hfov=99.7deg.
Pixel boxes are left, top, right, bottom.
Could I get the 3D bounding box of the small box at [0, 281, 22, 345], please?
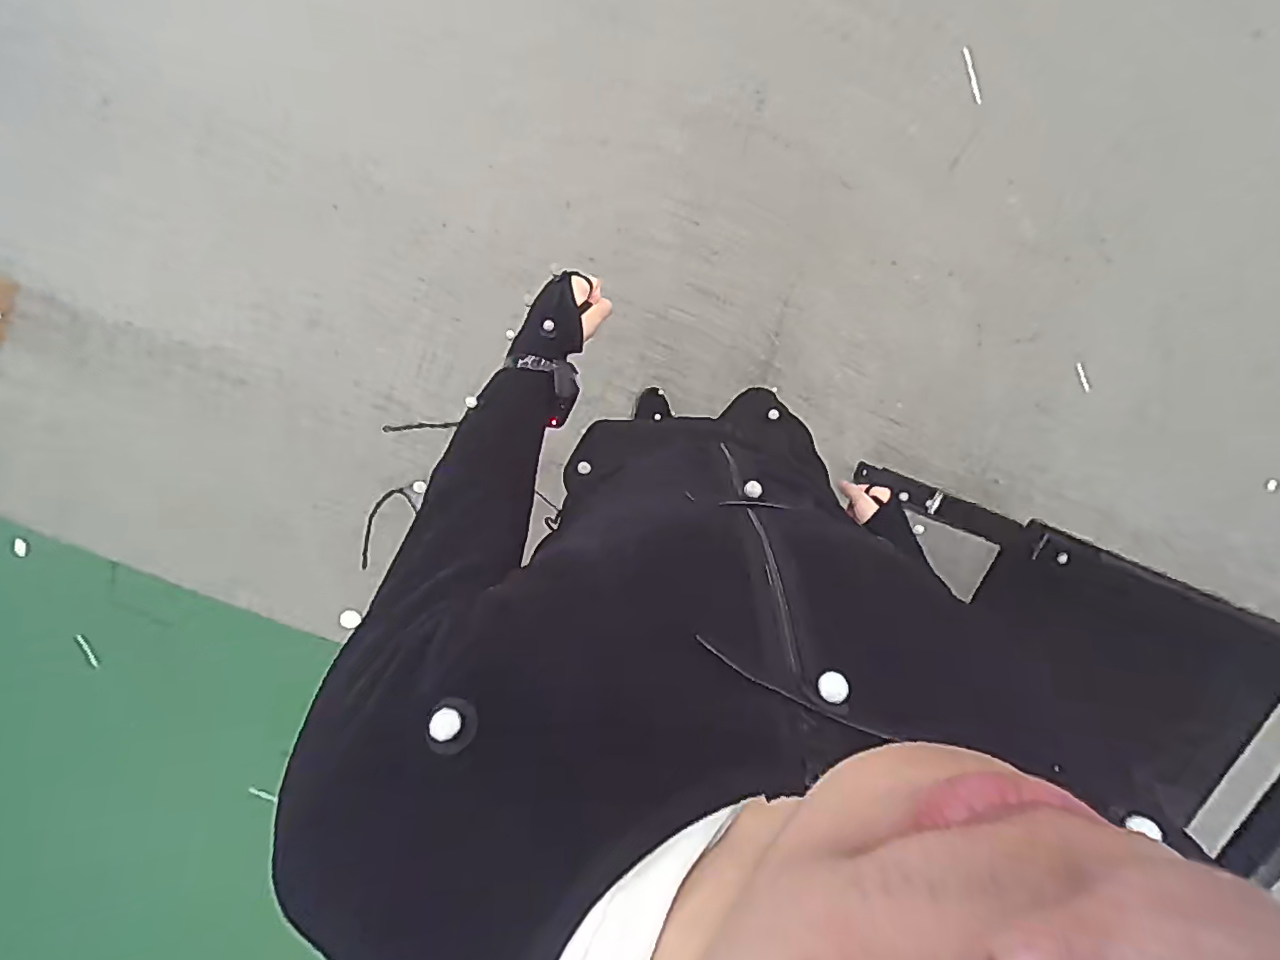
[{"bbox_3d":[-1.821,-0.474,1.432,0.168,0.176,0.179,26,100,-5],"label":"small box"}]
